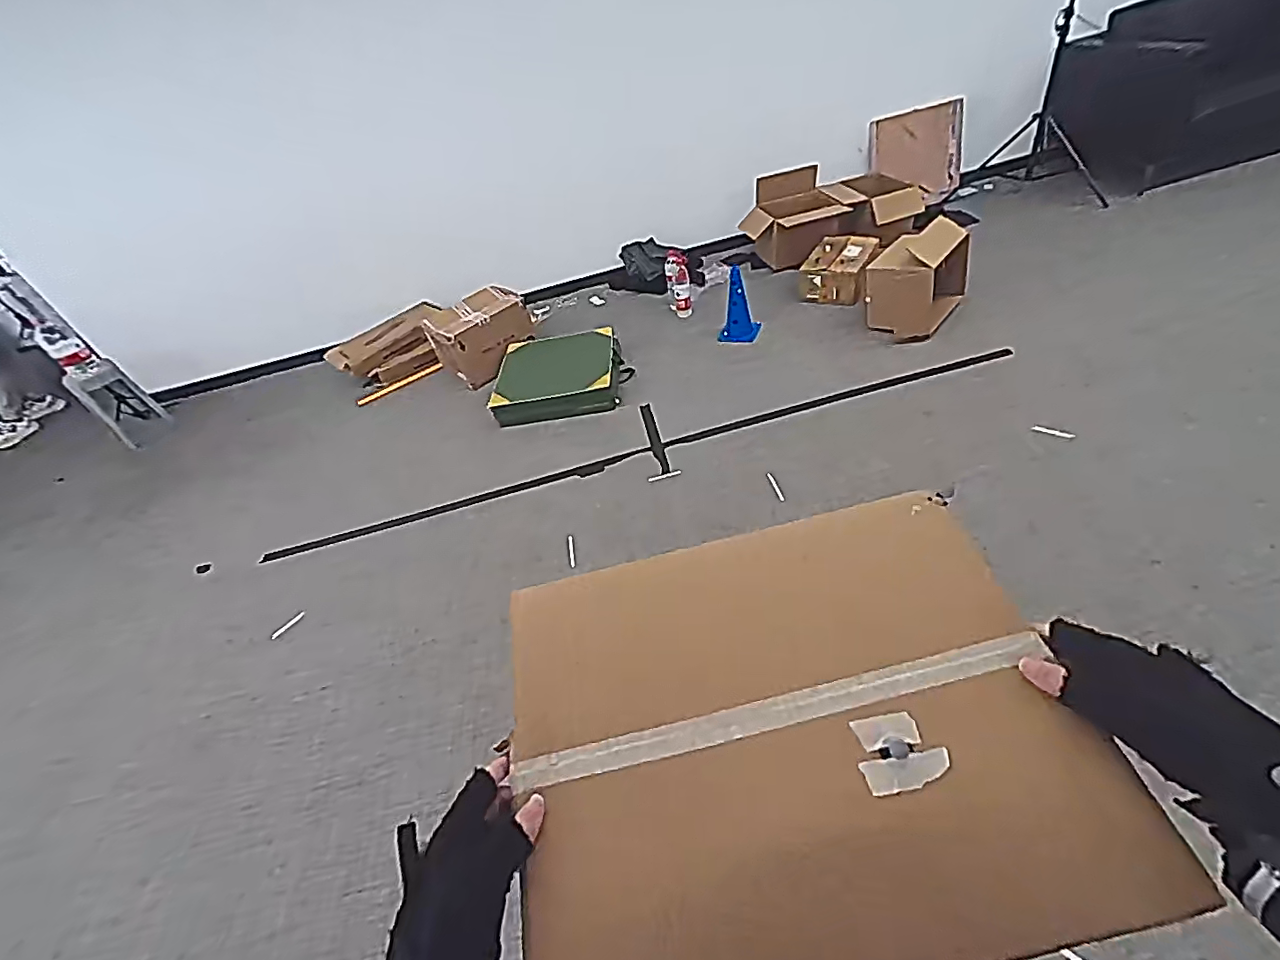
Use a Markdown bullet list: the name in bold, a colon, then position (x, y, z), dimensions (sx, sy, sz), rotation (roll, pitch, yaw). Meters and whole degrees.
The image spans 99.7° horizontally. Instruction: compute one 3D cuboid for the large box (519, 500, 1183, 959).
- **large box**: position (0.128, 0.274, 0.529), dimensions (0.408, 0.320, 0.320), rotation (-14, 51, -1)
